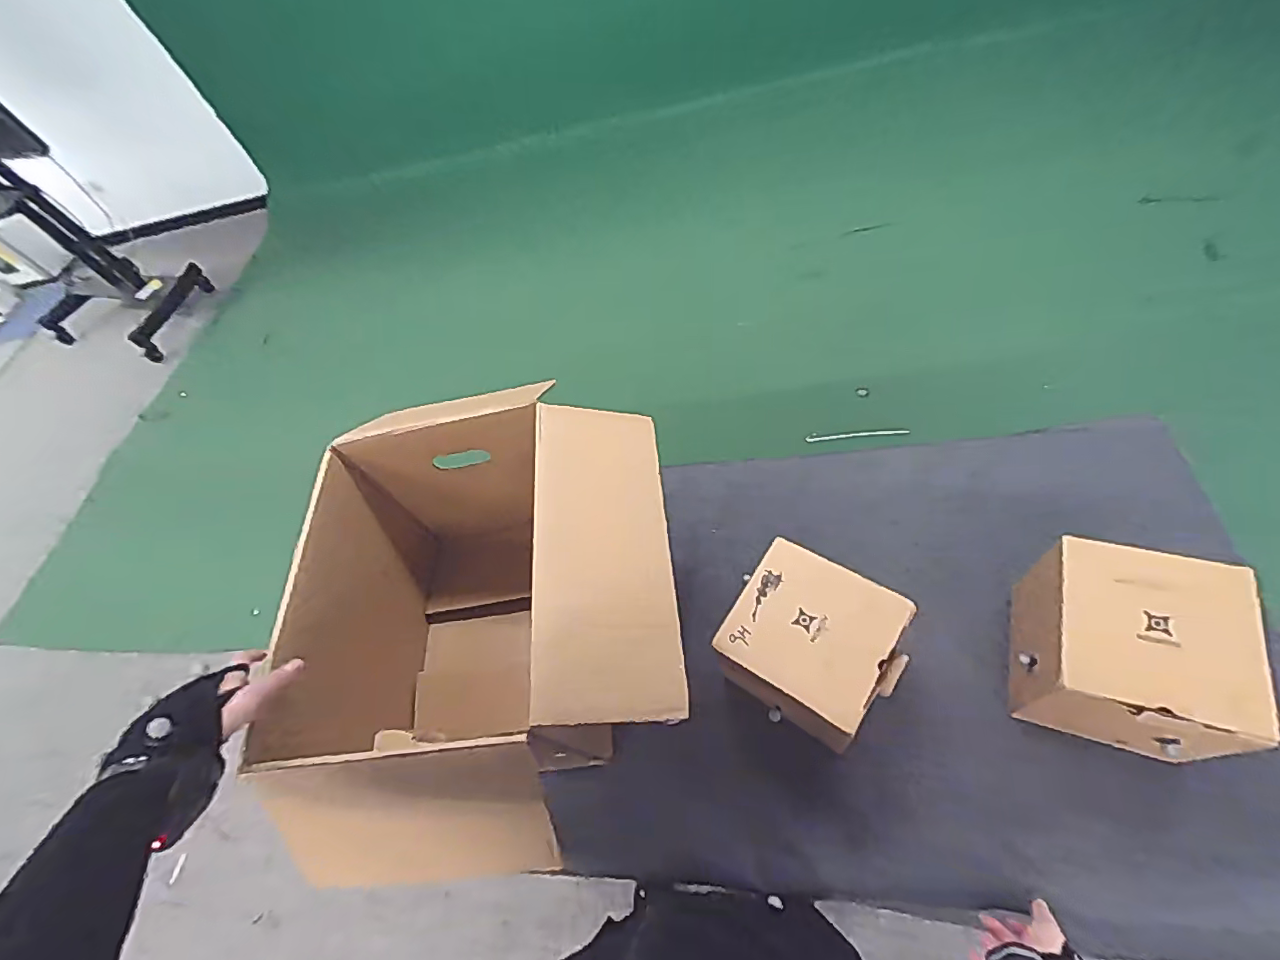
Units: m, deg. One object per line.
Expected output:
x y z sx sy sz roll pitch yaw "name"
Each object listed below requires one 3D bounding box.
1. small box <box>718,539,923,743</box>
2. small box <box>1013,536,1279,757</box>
0.223 0.211 0.690 0.179 0.176 0.168 28 68 28 "small box"
0.545 0.191 0.609 0.168 0.176 0.179 11 61 21 "small box"
